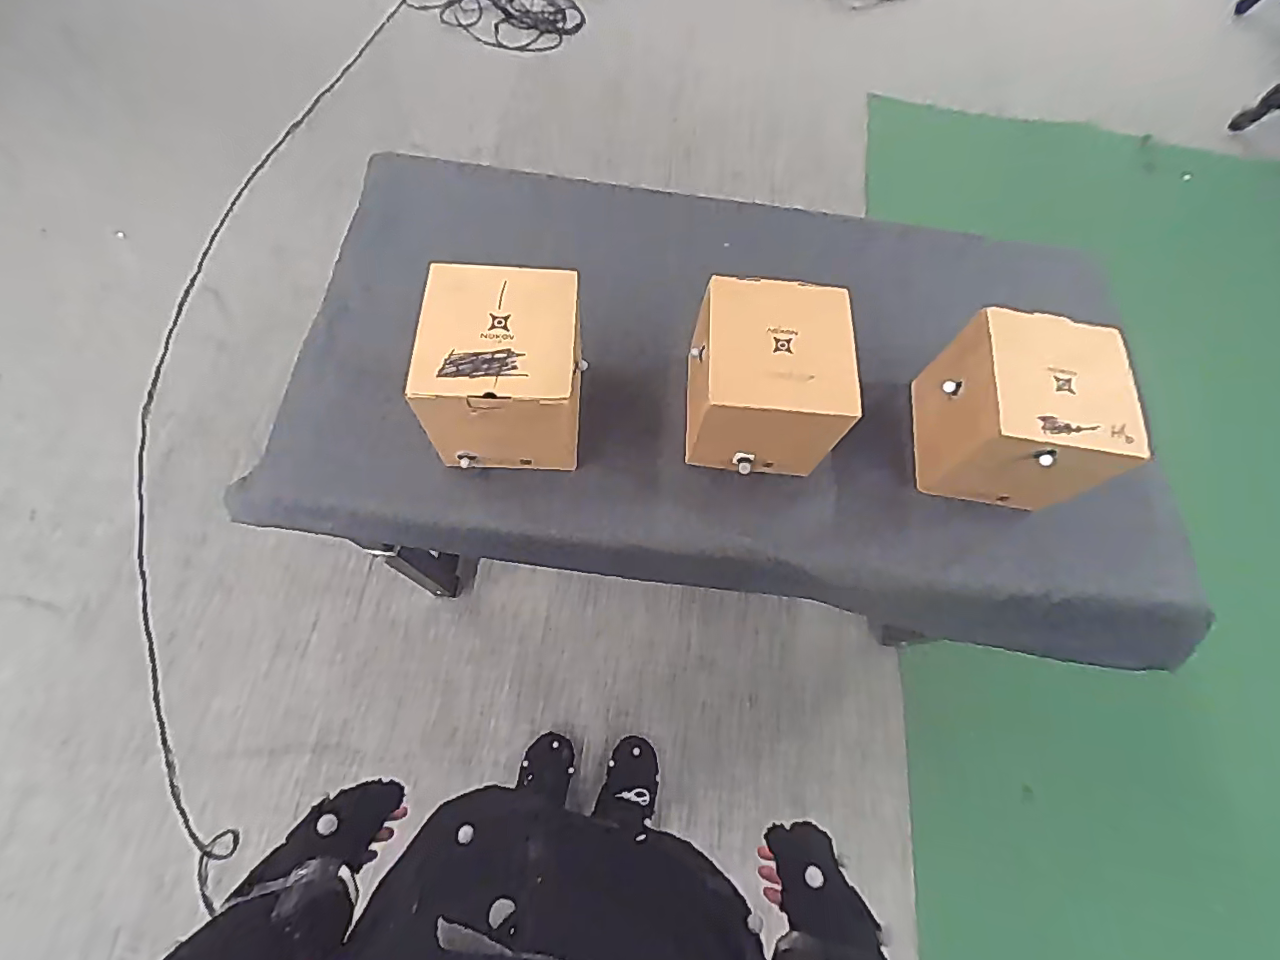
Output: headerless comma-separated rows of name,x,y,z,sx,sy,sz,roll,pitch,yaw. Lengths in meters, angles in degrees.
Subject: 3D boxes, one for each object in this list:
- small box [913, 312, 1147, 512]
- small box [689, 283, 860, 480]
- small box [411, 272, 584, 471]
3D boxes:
small box,0.468,-0.079,0.684,0.168,0.176,0.179,9,66,0
small box,0.154,-0.116,0.679,0.168,0.176,0.179,4,68,-1
small box,-0.155,-0.121,0.654,0.168,0.176,0.179,2,65,-4
